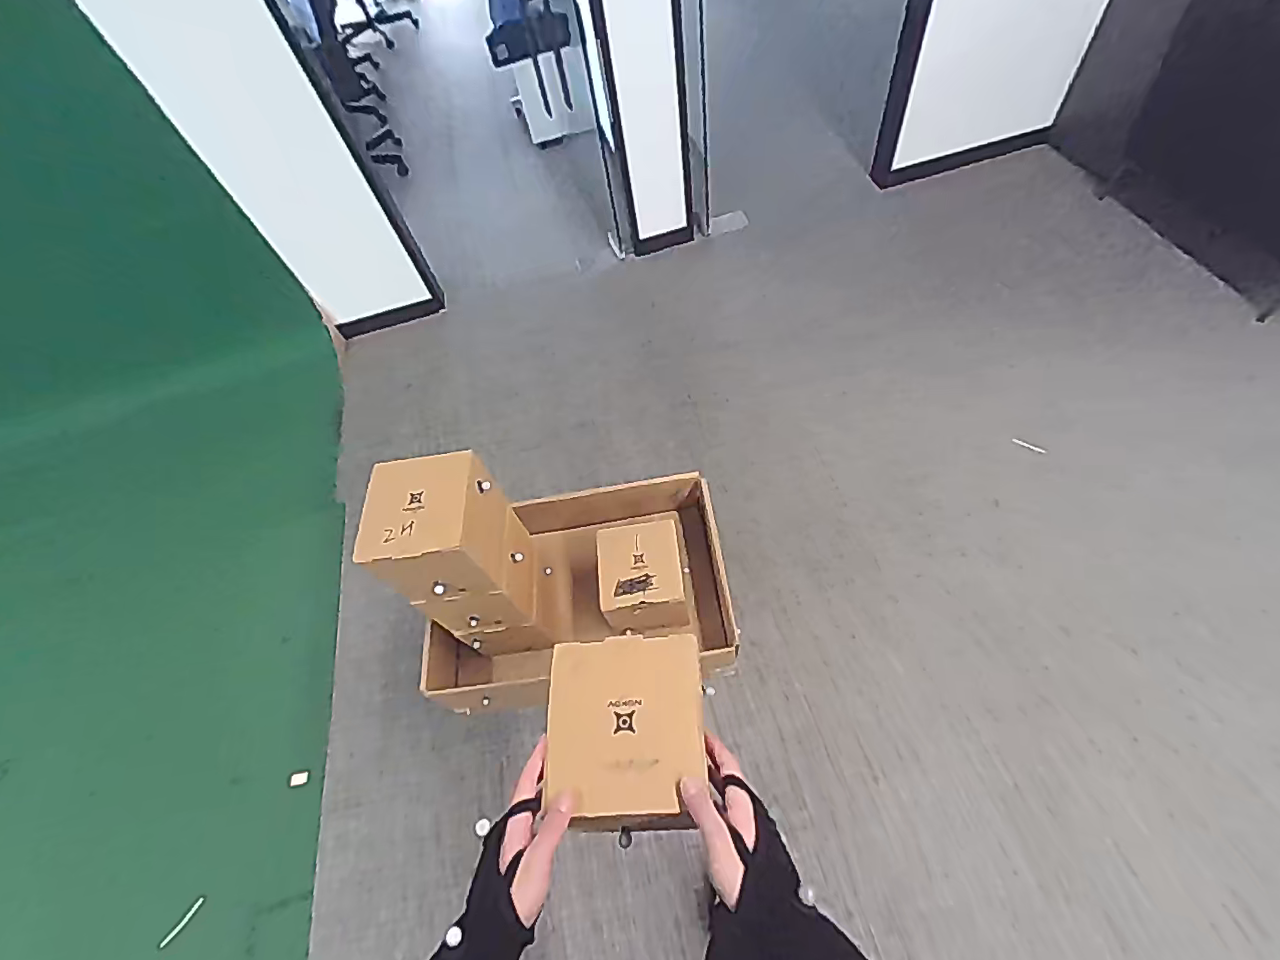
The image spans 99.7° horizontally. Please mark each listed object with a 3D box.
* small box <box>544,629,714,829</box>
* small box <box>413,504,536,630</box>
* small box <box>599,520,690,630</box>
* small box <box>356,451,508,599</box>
[{"bbox_3d":[-0.004,0.291,0.628,0.168,0.176,0.179,-5,52,5],"label":"small box"},{"bbox_3d":[-0.301,0.168,1.022,0.168,0.176,0.179,-8,58,4],"label":"small box"},{"bbox_3d":[0.012,0.207,1.137,0.168,0.176,0.179,-8,57,4],"label":"small box"},{"bbox_3d":[-0.324,0.077,0.885,0.168,0.176,0.179,-7,57,5],"label":"small box"}]
